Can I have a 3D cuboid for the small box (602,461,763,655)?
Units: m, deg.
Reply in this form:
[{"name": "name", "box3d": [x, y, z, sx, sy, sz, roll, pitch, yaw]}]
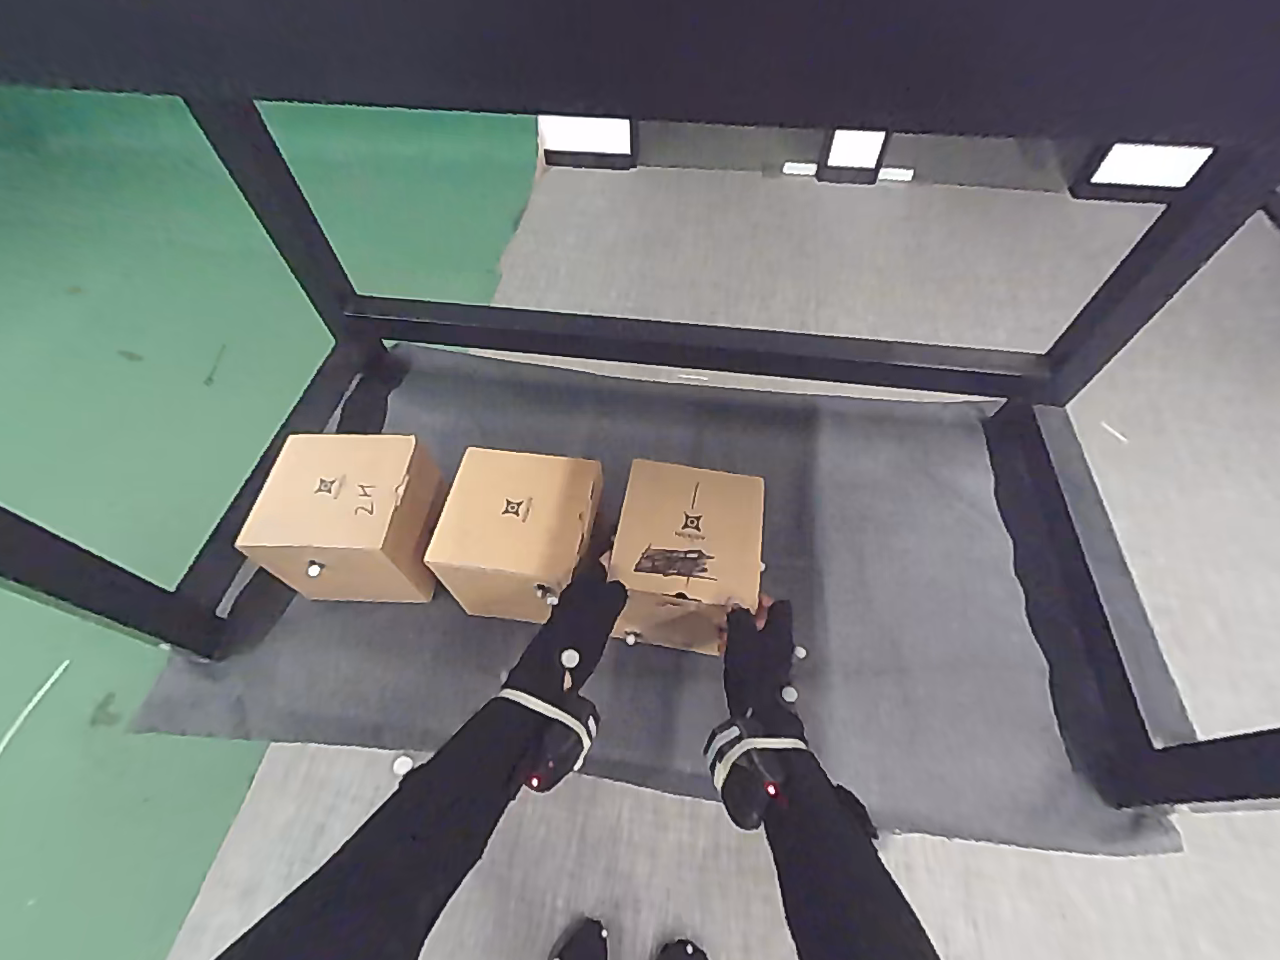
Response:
[{"name": "small box", "box3d": [0.054, 0.104, 0.682, 0.168, 0.176, 0.179, 9, 55, 5]}]
